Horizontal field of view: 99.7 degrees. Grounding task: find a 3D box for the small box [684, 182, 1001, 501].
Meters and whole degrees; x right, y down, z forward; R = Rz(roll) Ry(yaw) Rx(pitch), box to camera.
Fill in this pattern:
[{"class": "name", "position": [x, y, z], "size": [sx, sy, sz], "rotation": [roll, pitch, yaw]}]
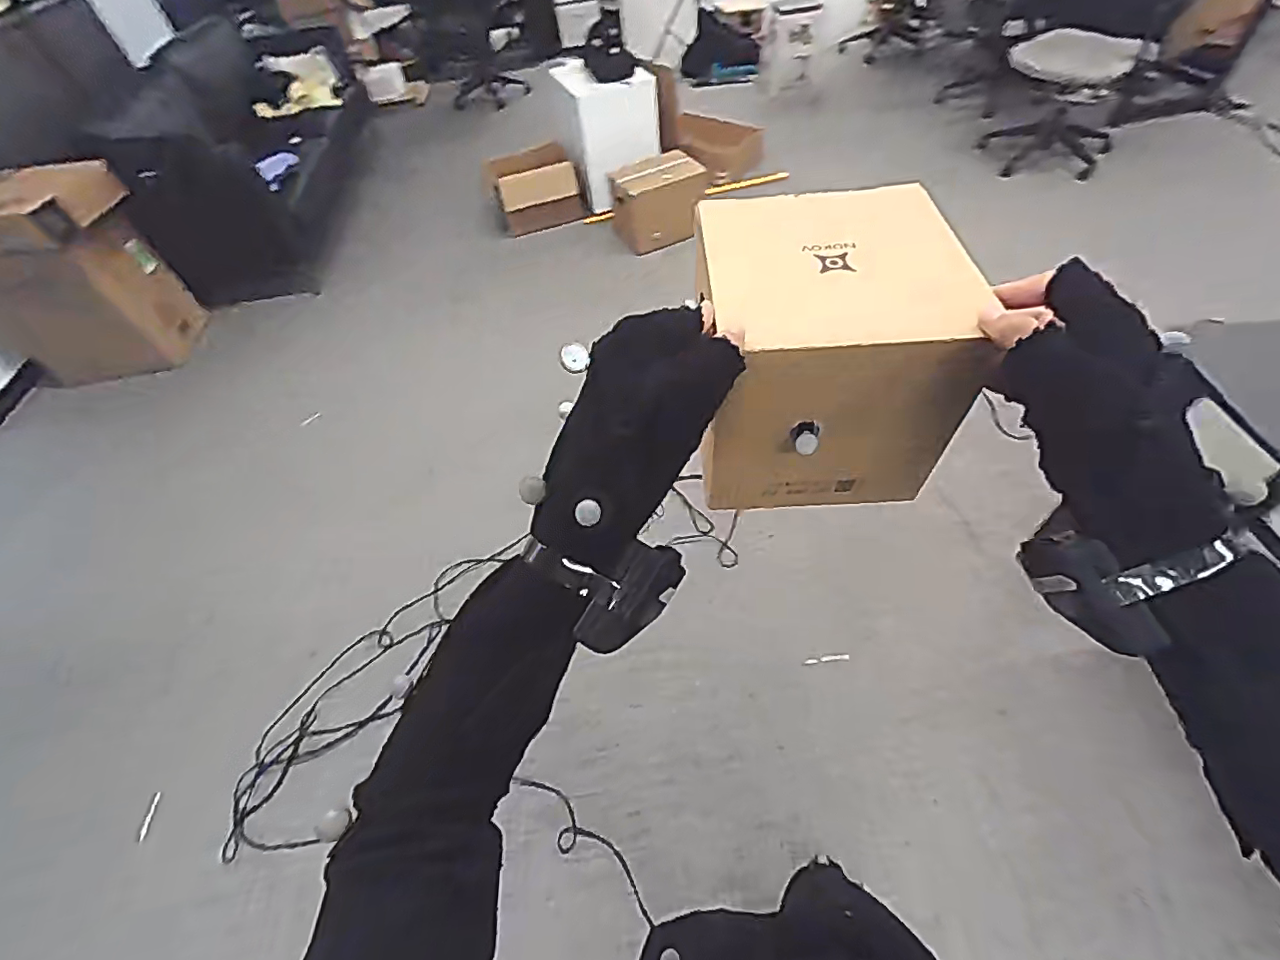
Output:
[{"class": "small box", "position": [0.122, -0.094, 0.411], "size": [0.168, 0.176, 0.179], "rotation": [-4, 52, 2]}]
